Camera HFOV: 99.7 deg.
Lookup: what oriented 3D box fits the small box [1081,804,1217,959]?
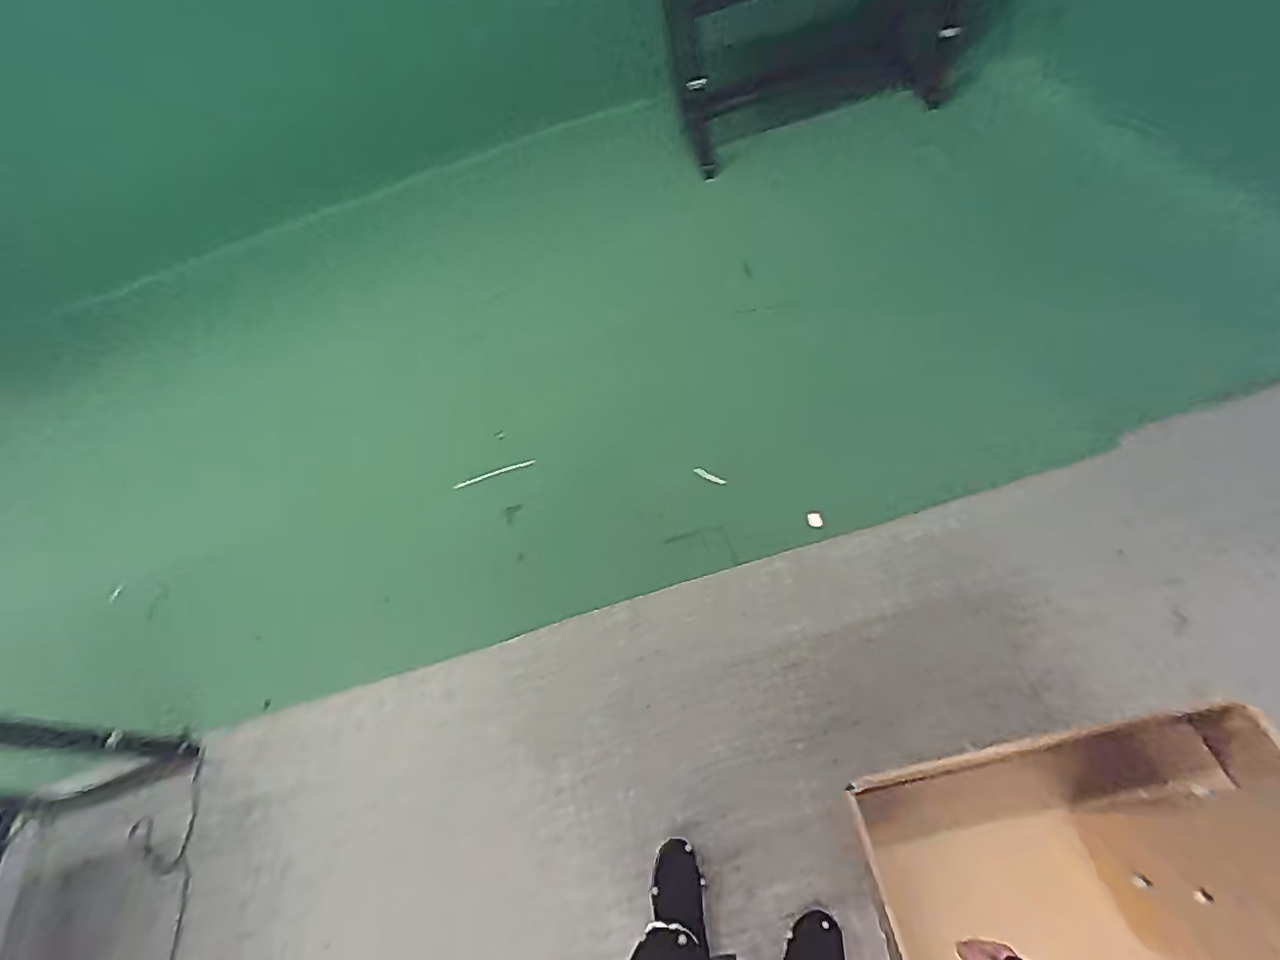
[{"bbox_3d":[0.781,0.566,0.755,0.168,0.176,0.179,-15,56,5],"label":"small box"}]
